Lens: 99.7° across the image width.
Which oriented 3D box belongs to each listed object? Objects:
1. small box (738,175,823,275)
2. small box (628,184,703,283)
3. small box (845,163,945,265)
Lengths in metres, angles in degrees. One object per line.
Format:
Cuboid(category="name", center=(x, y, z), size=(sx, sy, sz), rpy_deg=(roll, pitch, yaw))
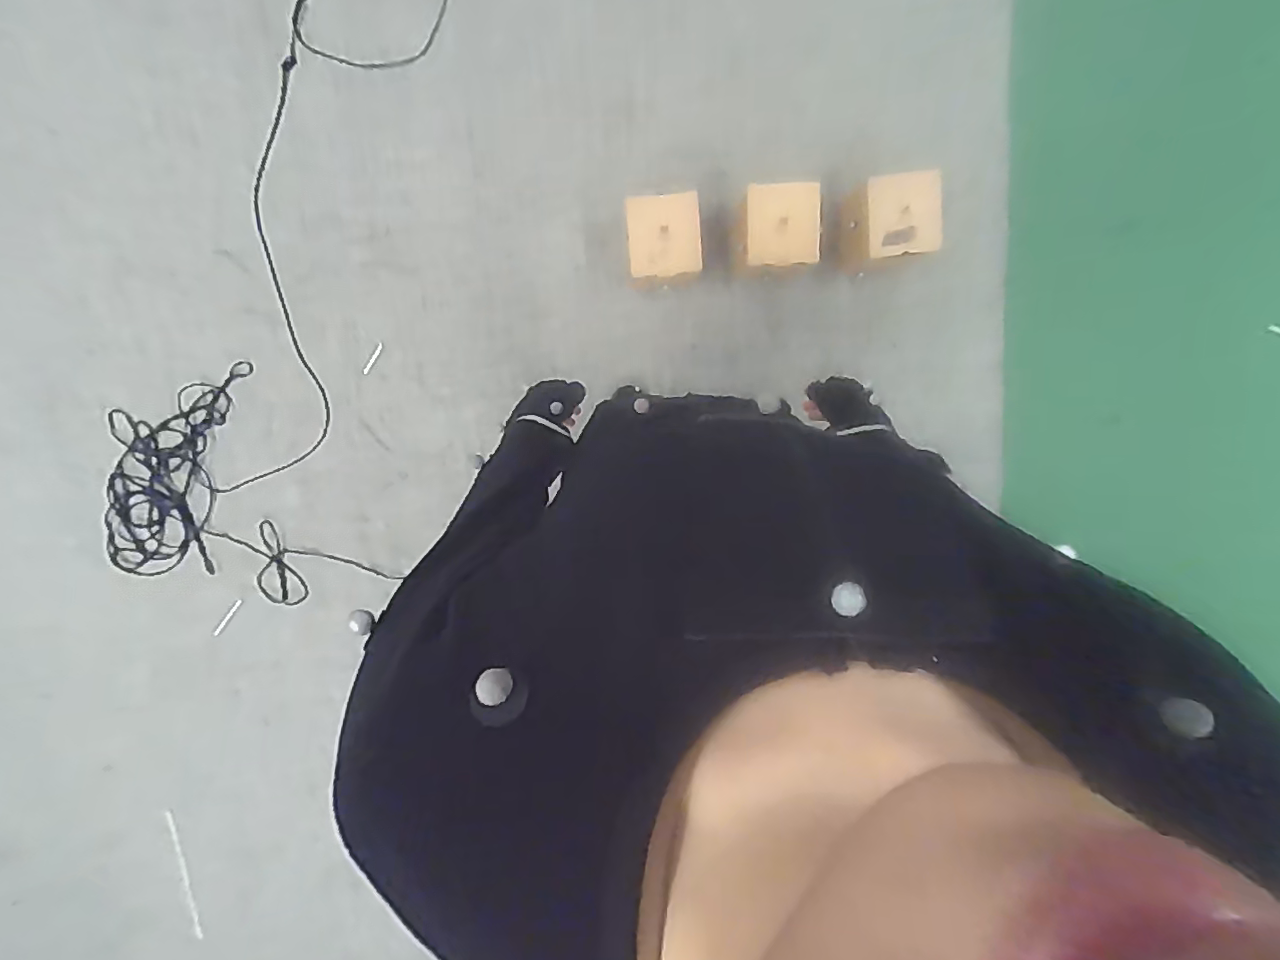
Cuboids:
Cuboid(category="small box", center=(0.328, -0.602, 1.290), size=(0.168, 0.176, 0.179), rpy_deg=(-2, 100, 2))
Cuboid(category="small box", center=(0.060, -0.584, 1.299), size=(0.168, 0.176, 0.179), rpy_deg=(-4, 100, 4))
Cuboid(category="small box", center=(0.596, -0.617, 1.278), size=(0.168, 0.176, 0.179), rpy_deg=(-5, 99, 3))
